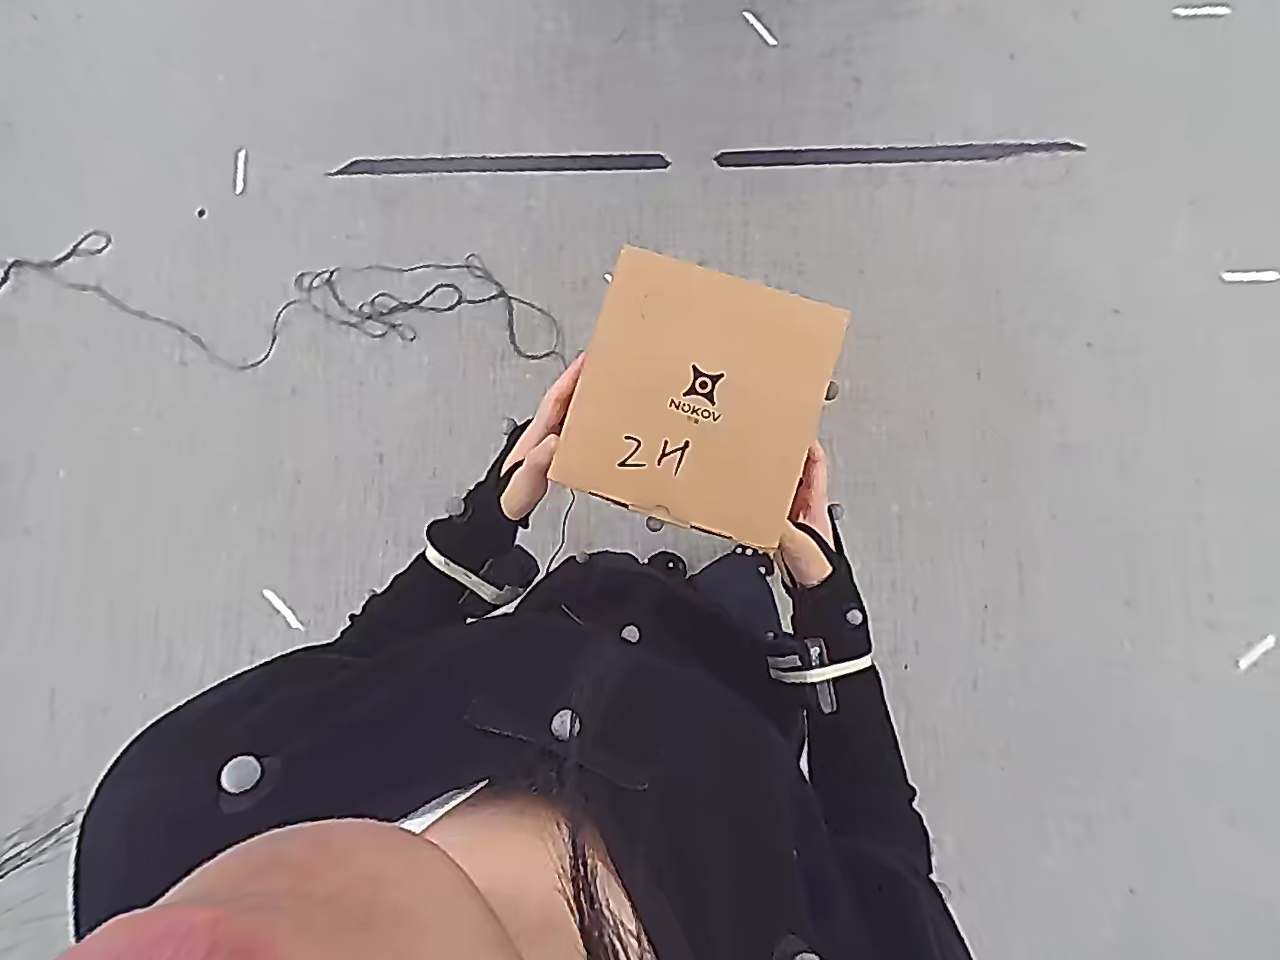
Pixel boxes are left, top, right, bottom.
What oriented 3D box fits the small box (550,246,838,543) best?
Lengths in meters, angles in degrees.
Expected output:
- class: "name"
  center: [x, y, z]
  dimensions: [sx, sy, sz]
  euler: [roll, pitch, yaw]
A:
- class: "small box"
  center: [0.039, -0.057, 0.458]
  dimensions: [0.168, 0.176, 0.179]
  euler: [17, 88, 3]
